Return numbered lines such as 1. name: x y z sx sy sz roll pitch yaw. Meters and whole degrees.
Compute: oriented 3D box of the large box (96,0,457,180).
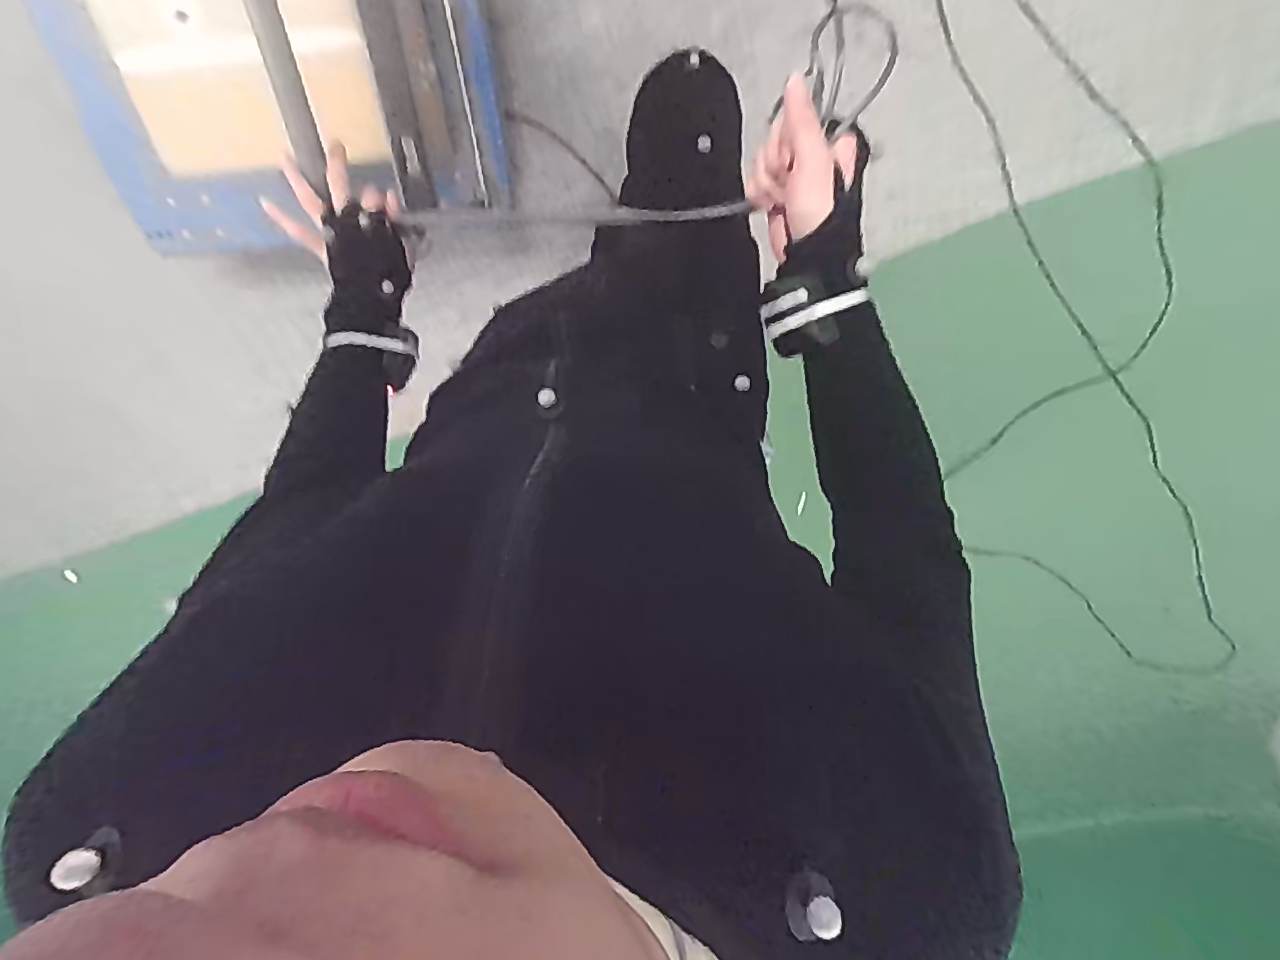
1. large box: -0.601 -0.734 0.961 0.408 0.320 0.320 -2 121 4
